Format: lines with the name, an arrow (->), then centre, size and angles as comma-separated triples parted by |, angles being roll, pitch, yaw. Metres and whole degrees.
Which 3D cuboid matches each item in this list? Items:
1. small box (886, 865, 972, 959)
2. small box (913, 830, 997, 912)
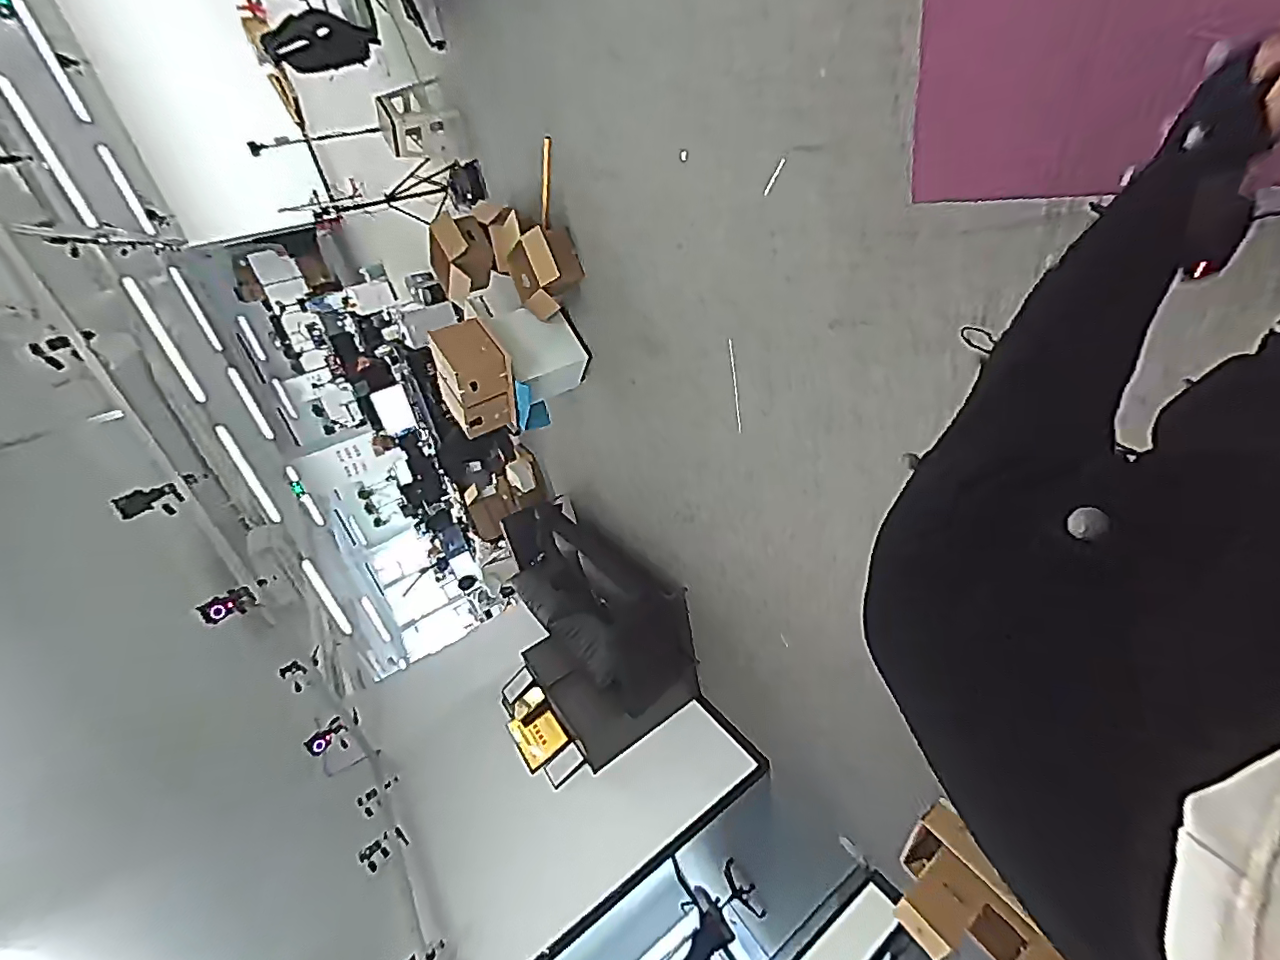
small box -> 0.940, 1.409, 1.760 | 0.168, 0.176, 0.179 | 39, 146, 41
small box -> 1.068, 1.341, 1.833 | 0.168, 0.176, 0.179 | 40, 146, 40
